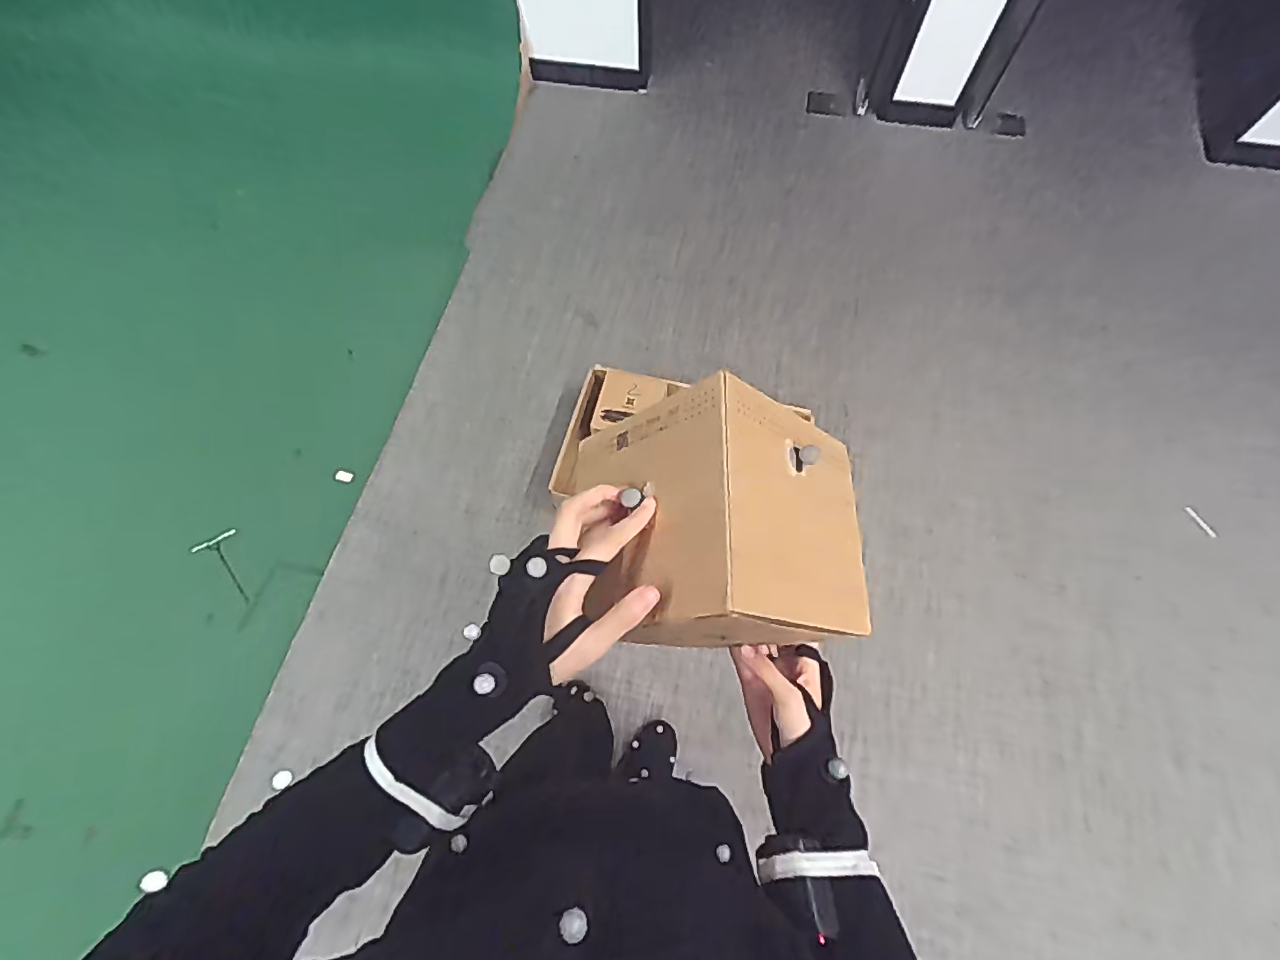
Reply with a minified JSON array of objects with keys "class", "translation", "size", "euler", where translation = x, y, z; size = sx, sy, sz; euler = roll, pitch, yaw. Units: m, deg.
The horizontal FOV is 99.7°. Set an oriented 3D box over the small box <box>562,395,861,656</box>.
[{"class":"small box","translation":[0.059,0.048,0.449],"size":[0.179,0.168,0.176],"euler":[23,61,-39]}]
